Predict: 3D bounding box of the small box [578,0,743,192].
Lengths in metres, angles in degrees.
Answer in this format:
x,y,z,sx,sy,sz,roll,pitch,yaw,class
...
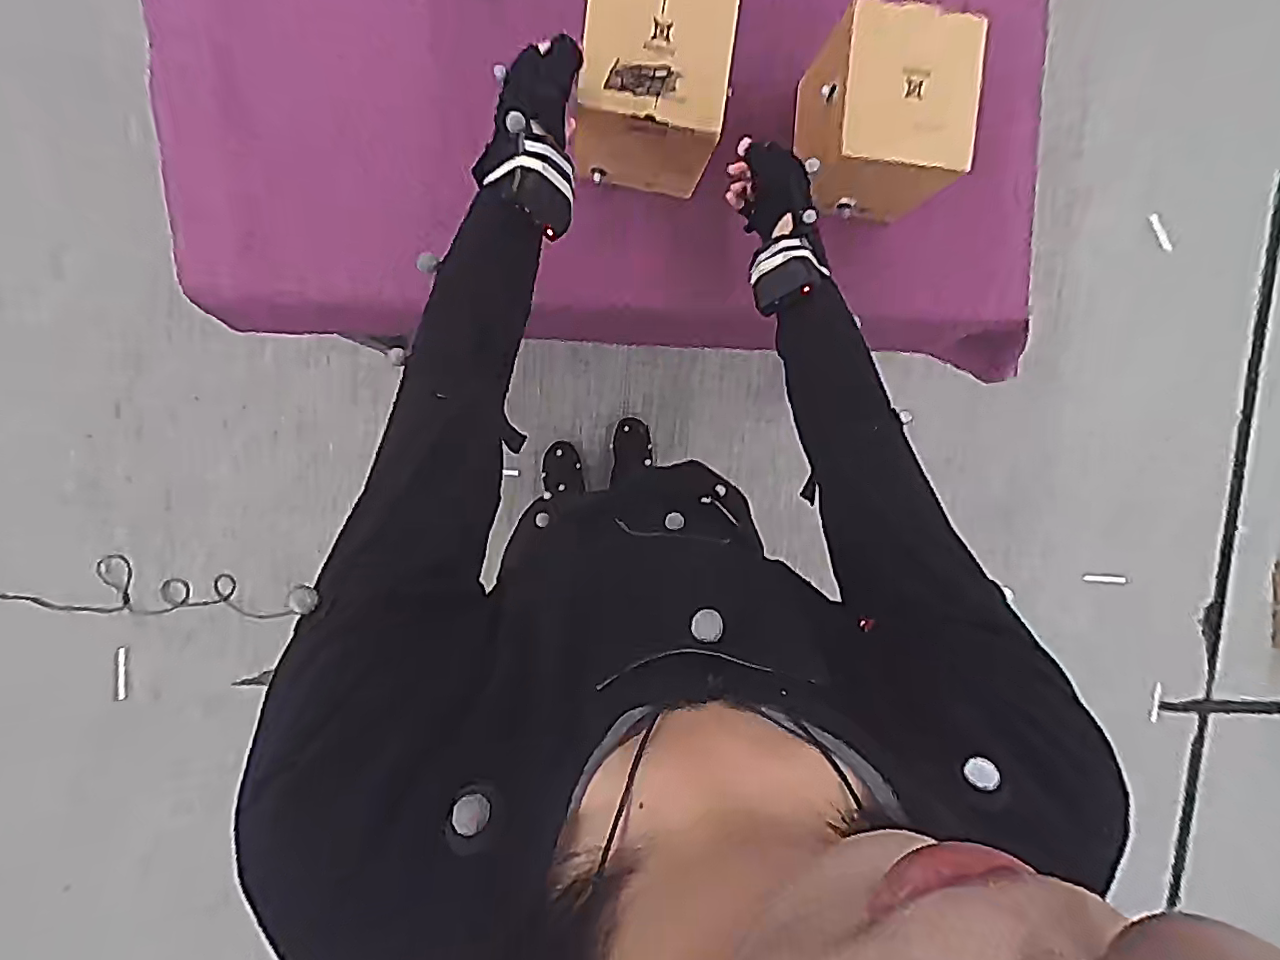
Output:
x,y,z,sx,sy,sz,roll,pitch,yaw,class
0.016,-0.488,0.668,0.168,0.176,0.179,8,93,-8,small box

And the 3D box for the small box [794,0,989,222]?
x,y,z,sx,sy,sz,roll,pitch,yaw,class
0.314,-0.467,0.709,0.168,0.176,0.179,3,95,-6,small box
